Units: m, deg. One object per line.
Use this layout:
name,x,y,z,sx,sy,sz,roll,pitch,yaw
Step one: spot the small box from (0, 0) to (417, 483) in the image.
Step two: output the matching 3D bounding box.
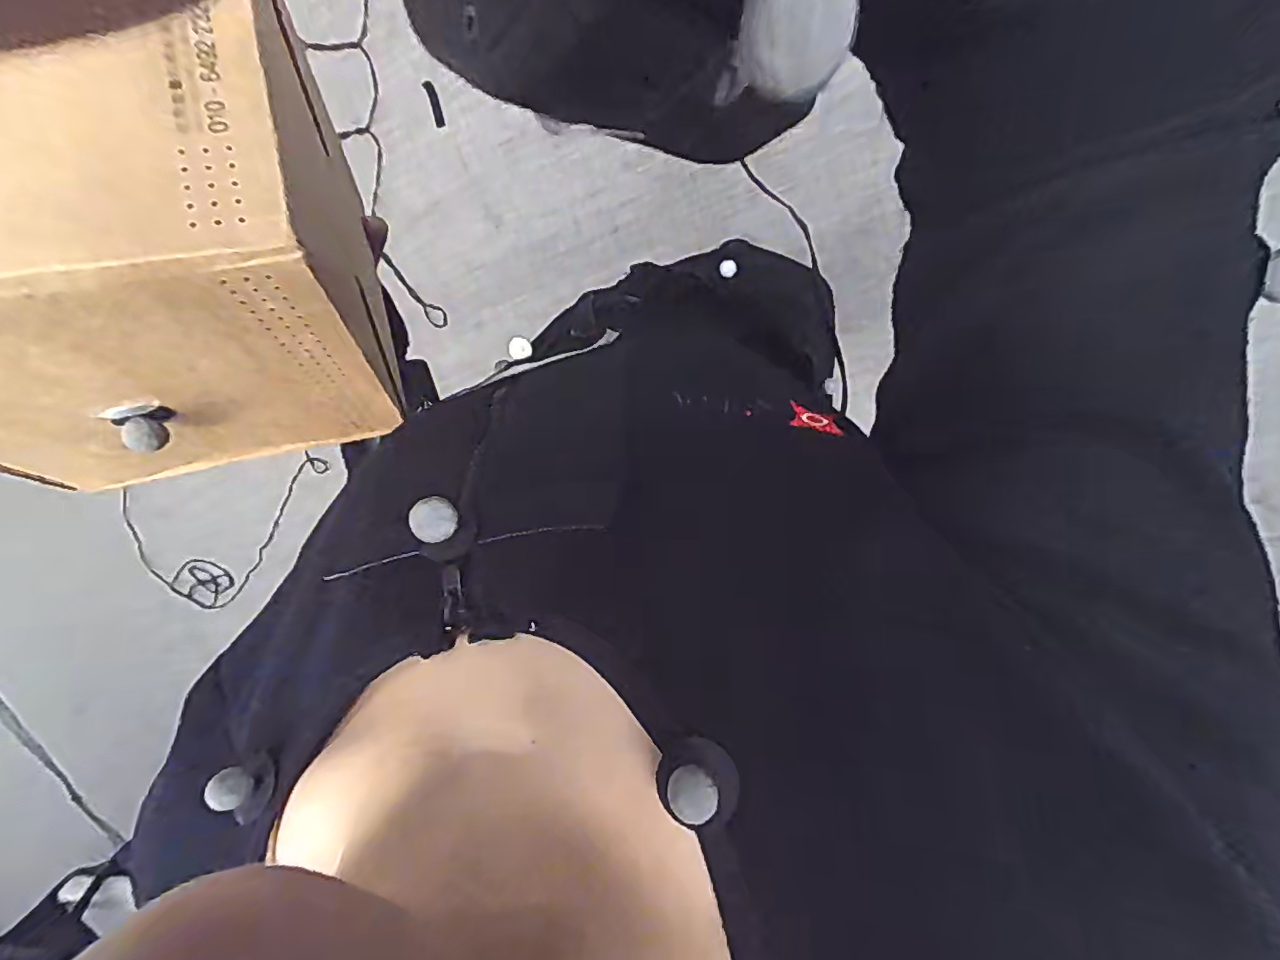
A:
small box,-0.216,-0.110,0.250,0.176,0.179,0.168,-14,79,-14
